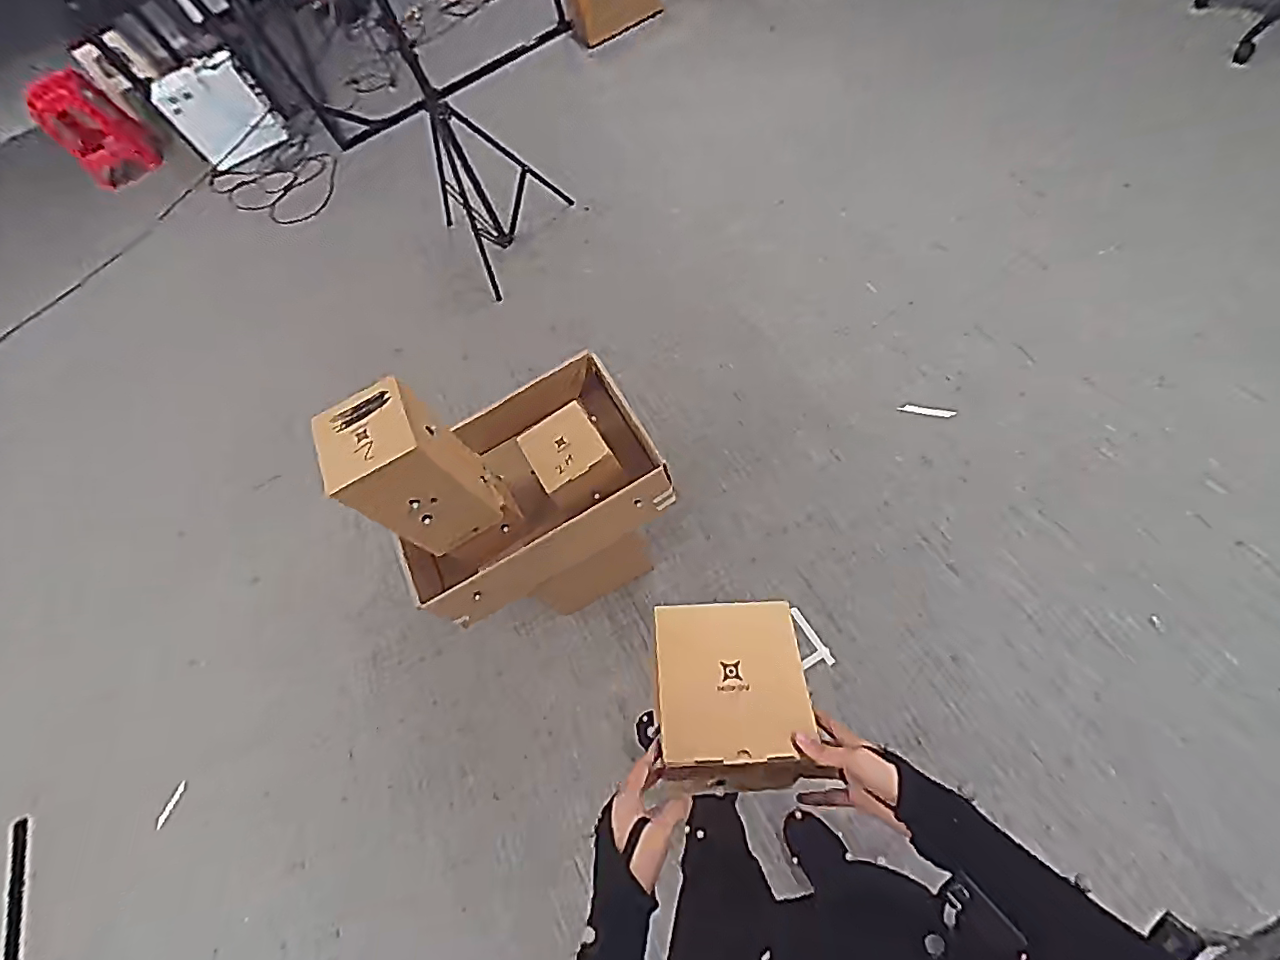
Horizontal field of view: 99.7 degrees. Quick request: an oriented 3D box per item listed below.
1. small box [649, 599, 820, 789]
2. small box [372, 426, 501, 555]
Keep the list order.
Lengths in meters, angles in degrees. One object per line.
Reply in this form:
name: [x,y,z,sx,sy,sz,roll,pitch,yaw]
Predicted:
small box: [0.099,0.264,0.665,0.168,0.176,0.179,-2,52,-2]
small box: [-0.417,0.028,1.119,0.168,0.176,0.179,-30,61,-1]
